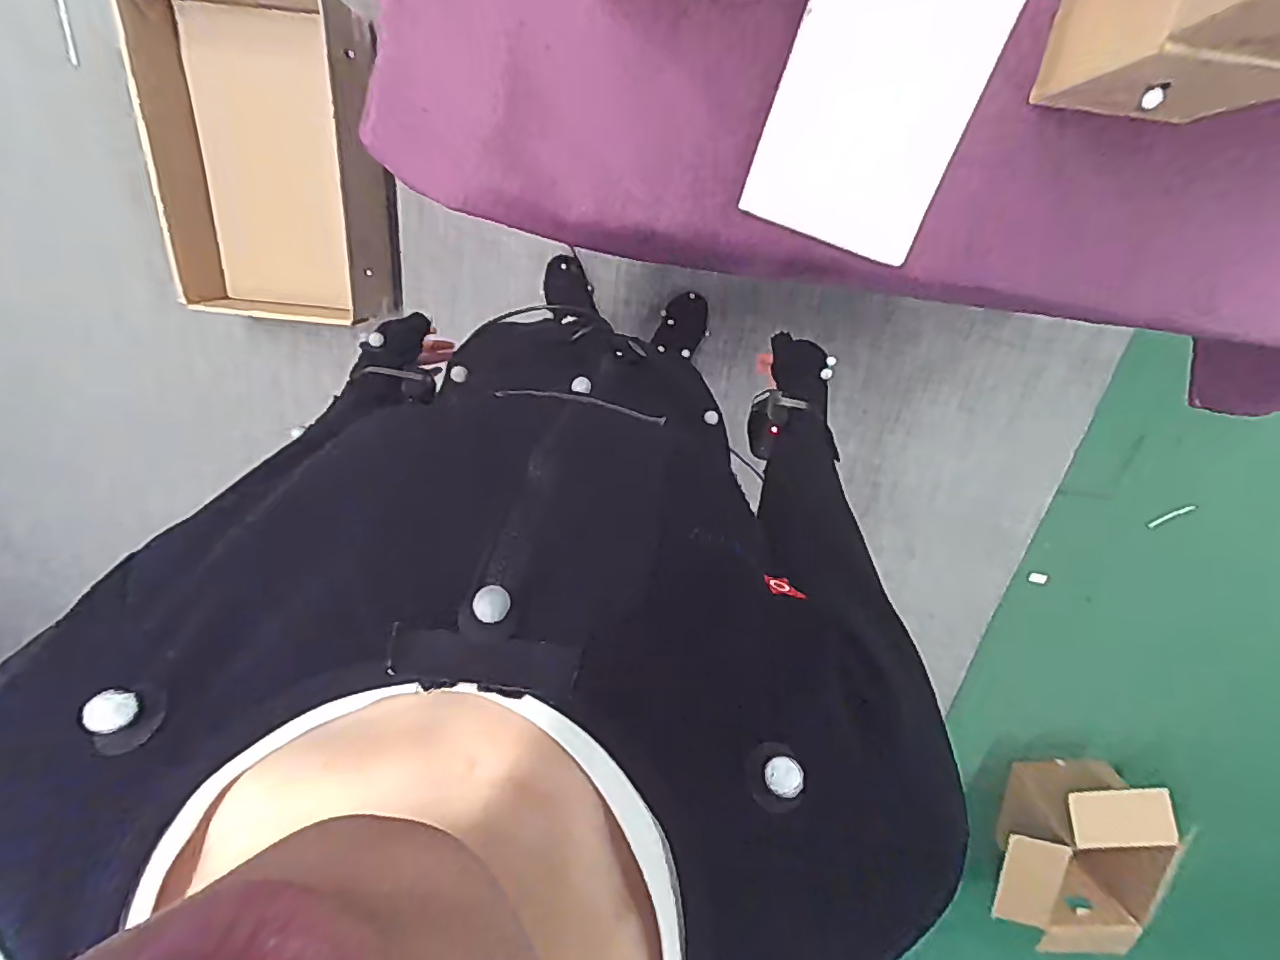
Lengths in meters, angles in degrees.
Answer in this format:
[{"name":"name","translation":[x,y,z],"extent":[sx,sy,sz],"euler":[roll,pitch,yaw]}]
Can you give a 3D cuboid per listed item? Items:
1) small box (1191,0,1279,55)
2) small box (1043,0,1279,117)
[{"name":"small box","translation":[0.489,-0.371,0.301],"extent":[0.168,0.176,0.179],"euler":[10,113,-2]},{"name":"small box","translation":[0.492,-0.430,0.456],"extent":[0.168,0.176,0.179],"euler":[7,113,-1]}]
